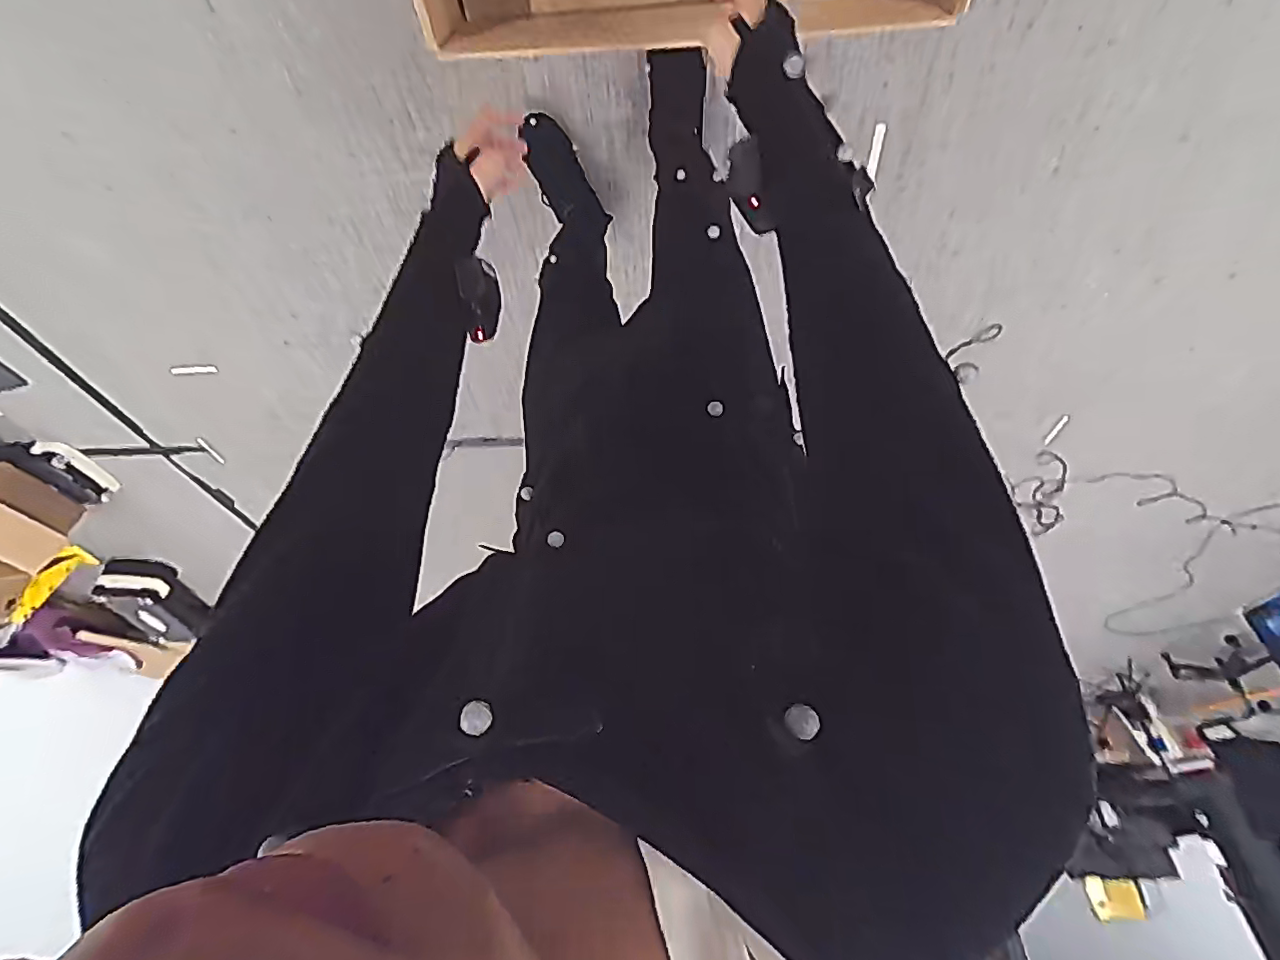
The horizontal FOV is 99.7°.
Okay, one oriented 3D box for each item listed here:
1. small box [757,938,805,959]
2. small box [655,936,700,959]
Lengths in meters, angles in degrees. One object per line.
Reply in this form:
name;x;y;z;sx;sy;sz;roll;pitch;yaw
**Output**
small box;0.536;1.839;2.036;0.168;0.176;0.179;-4;141;5
small box;0.144;1.826;2.025;0.168;0.176;0.179;-3;143;5
